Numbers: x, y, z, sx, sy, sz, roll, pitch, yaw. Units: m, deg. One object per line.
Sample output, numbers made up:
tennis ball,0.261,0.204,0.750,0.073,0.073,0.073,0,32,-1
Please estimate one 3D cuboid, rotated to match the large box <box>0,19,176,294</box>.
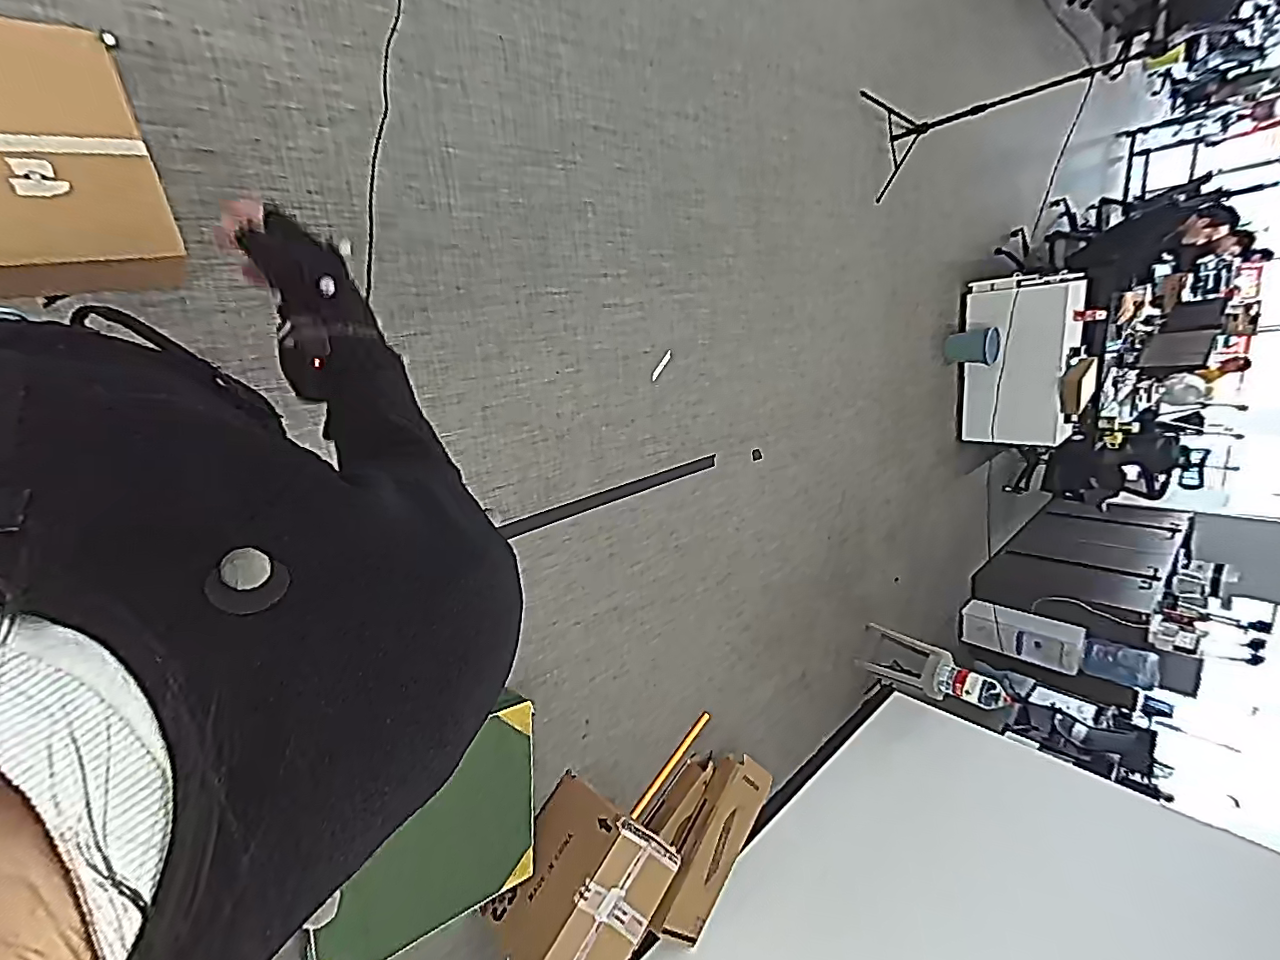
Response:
large box,-1.028,-0.473,0.835,0.408,0.320,0.320,-23,112,-37
